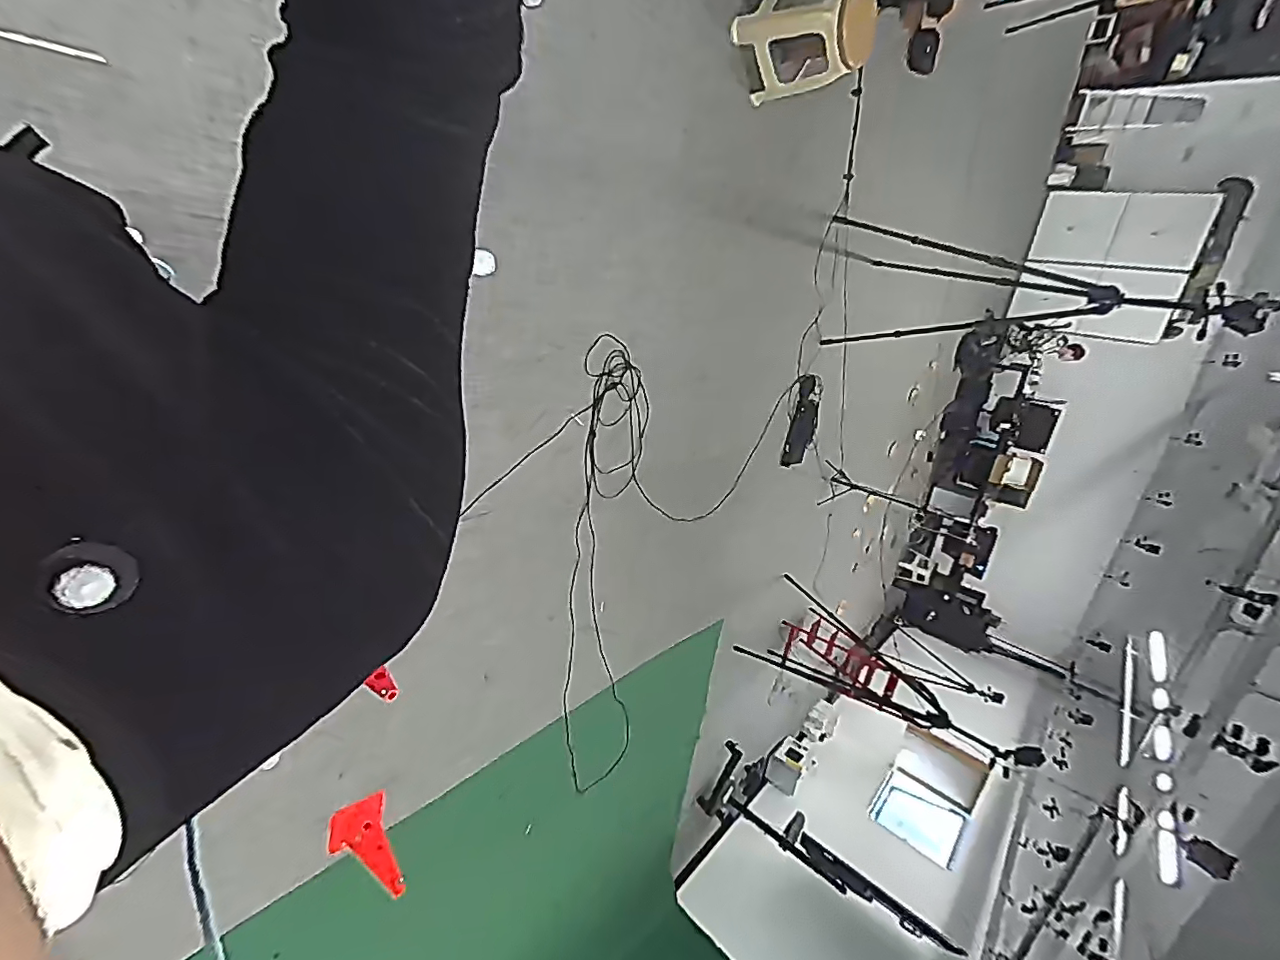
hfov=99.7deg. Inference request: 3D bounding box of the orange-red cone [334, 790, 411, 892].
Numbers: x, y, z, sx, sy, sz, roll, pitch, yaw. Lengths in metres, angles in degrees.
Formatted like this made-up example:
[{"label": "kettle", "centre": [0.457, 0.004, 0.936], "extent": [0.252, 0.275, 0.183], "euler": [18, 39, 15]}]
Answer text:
[{"label": "orange-red cone", "centre": [-0.960, 1.387, 2.021], "extent": [0.199, 0.360, 0.198], "euler": [-6, 114, -51]}]
